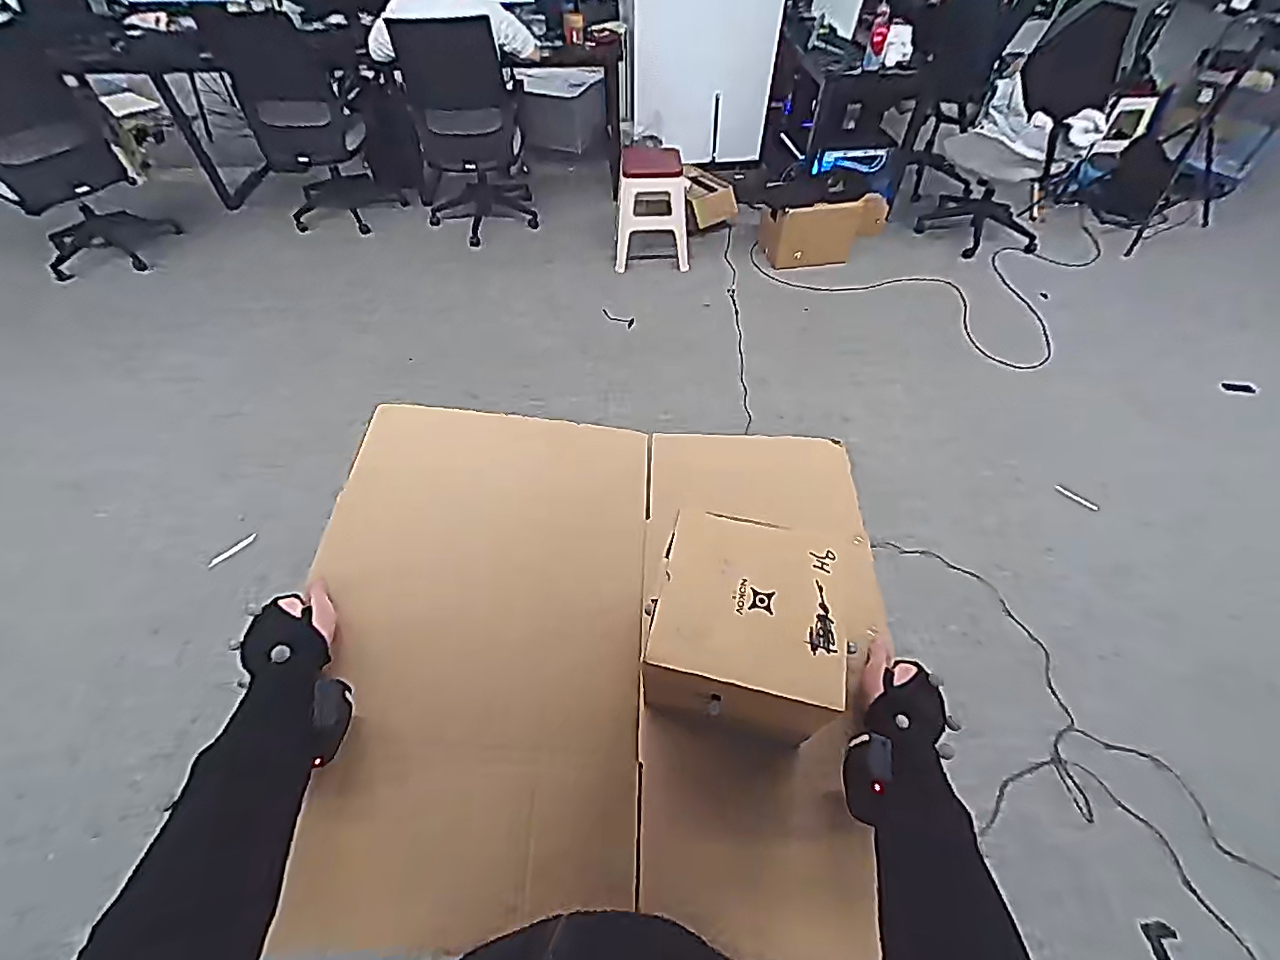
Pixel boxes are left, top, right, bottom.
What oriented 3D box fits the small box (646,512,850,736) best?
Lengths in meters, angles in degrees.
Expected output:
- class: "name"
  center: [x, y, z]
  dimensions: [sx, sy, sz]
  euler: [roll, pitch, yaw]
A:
- class: "small box"
  center: [0.112, 0.159, 0.580]
  dimensions: [0.179, 0.176, 0.168]
  euler: [10, 56, 10]
